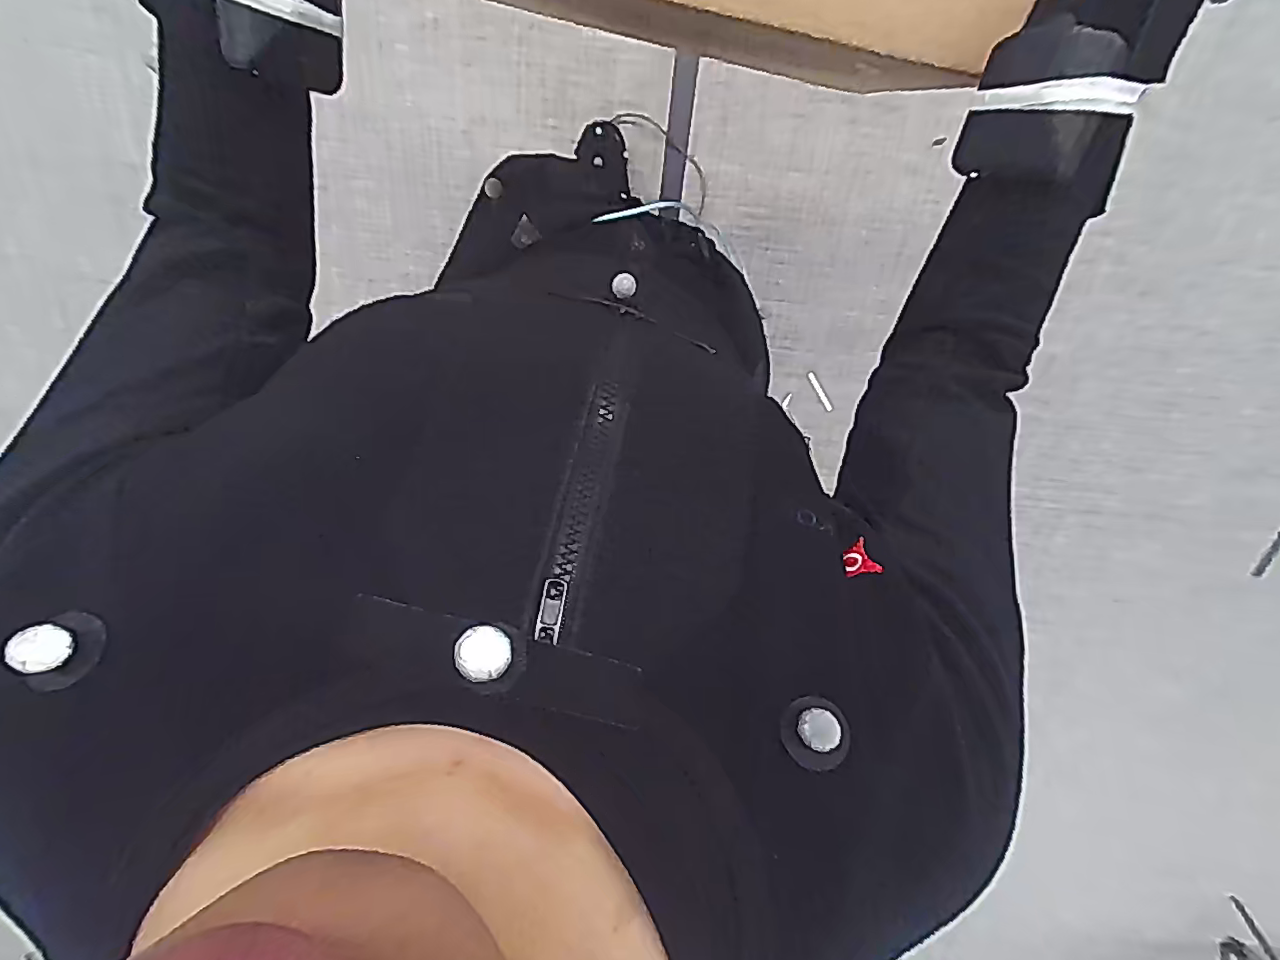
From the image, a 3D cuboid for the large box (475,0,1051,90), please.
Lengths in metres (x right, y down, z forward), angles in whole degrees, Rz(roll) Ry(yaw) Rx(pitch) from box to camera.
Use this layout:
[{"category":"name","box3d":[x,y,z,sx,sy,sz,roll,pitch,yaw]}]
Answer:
[{"category":"large box","box3d":[0.056,-0.472,0.339,0.408,0.320,0.320,10,126,-4]}]
